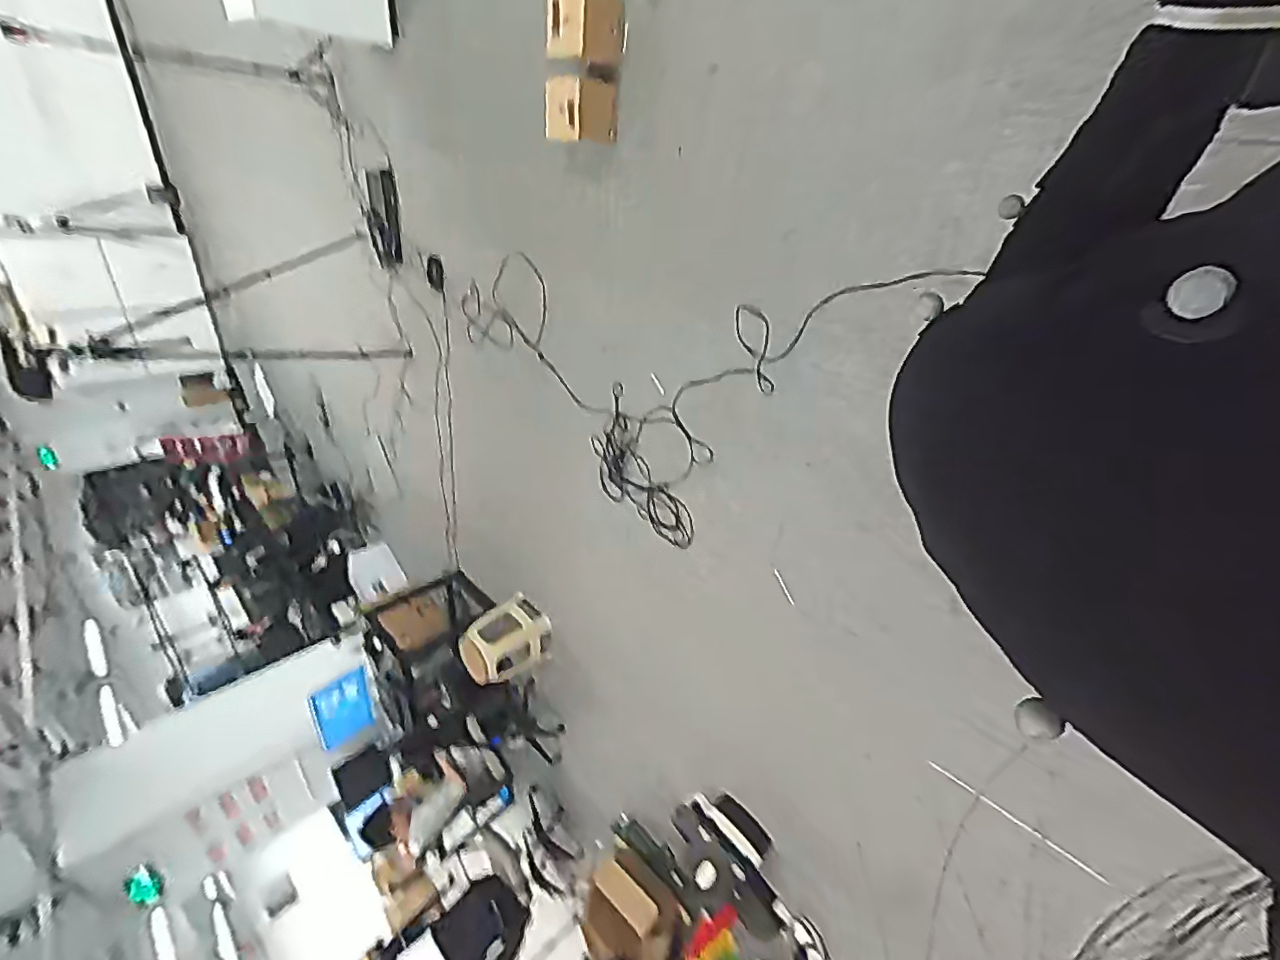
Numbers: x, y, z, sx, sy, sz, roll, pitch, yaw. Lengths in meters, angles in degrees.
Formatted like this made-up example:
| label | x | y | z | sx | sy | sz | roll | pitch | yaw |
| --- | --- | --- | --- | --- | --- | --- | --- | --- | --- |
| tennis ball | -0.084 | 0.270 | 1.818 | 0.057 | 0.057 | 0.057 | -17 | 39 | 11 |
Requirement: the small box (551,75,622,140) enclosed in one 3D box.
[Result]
| label | x | y | z | sx | sy | sz | roll | pitch | yaw |
| --- | --- | --- | --- | --- | --- | --- | --- | --- | --- |
| small box | -0.178 | -1.241 | 1.805 | 0.179 | 0.176 | 0.168 | 31 | 129 | 36 |
